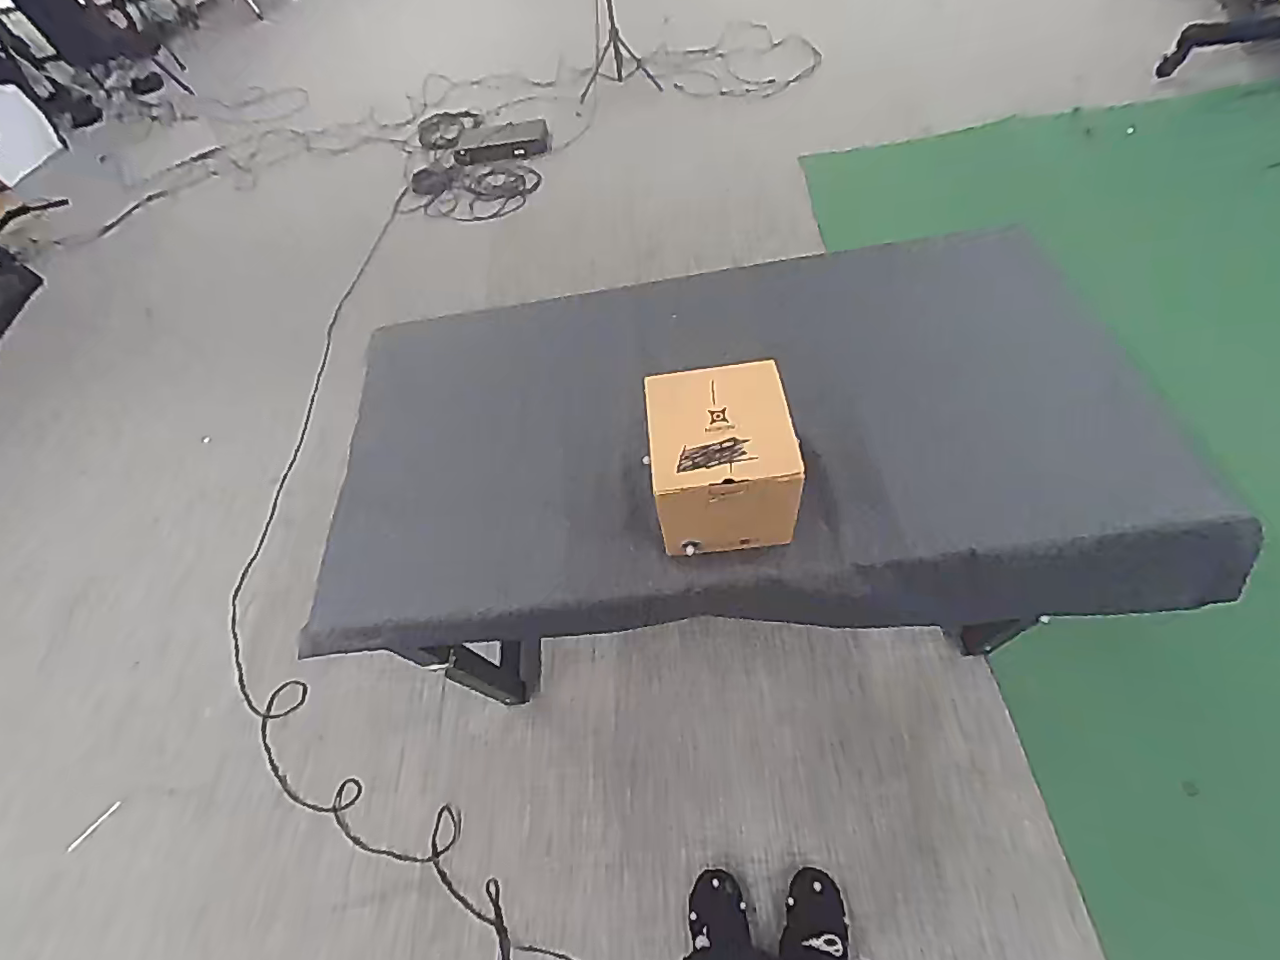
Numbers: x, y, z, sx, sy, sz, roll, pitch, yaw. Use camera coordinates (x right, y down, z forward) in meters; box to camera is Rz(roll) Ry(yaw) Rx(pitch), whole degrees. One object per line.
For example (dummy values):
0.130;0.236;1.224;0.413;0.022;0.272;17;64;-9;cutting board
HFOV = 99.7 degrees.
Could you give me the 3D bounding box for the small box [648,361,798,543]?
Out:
0.106;-0.027;0.716;0.168;0.176;0.179;-7;56;5;small box
